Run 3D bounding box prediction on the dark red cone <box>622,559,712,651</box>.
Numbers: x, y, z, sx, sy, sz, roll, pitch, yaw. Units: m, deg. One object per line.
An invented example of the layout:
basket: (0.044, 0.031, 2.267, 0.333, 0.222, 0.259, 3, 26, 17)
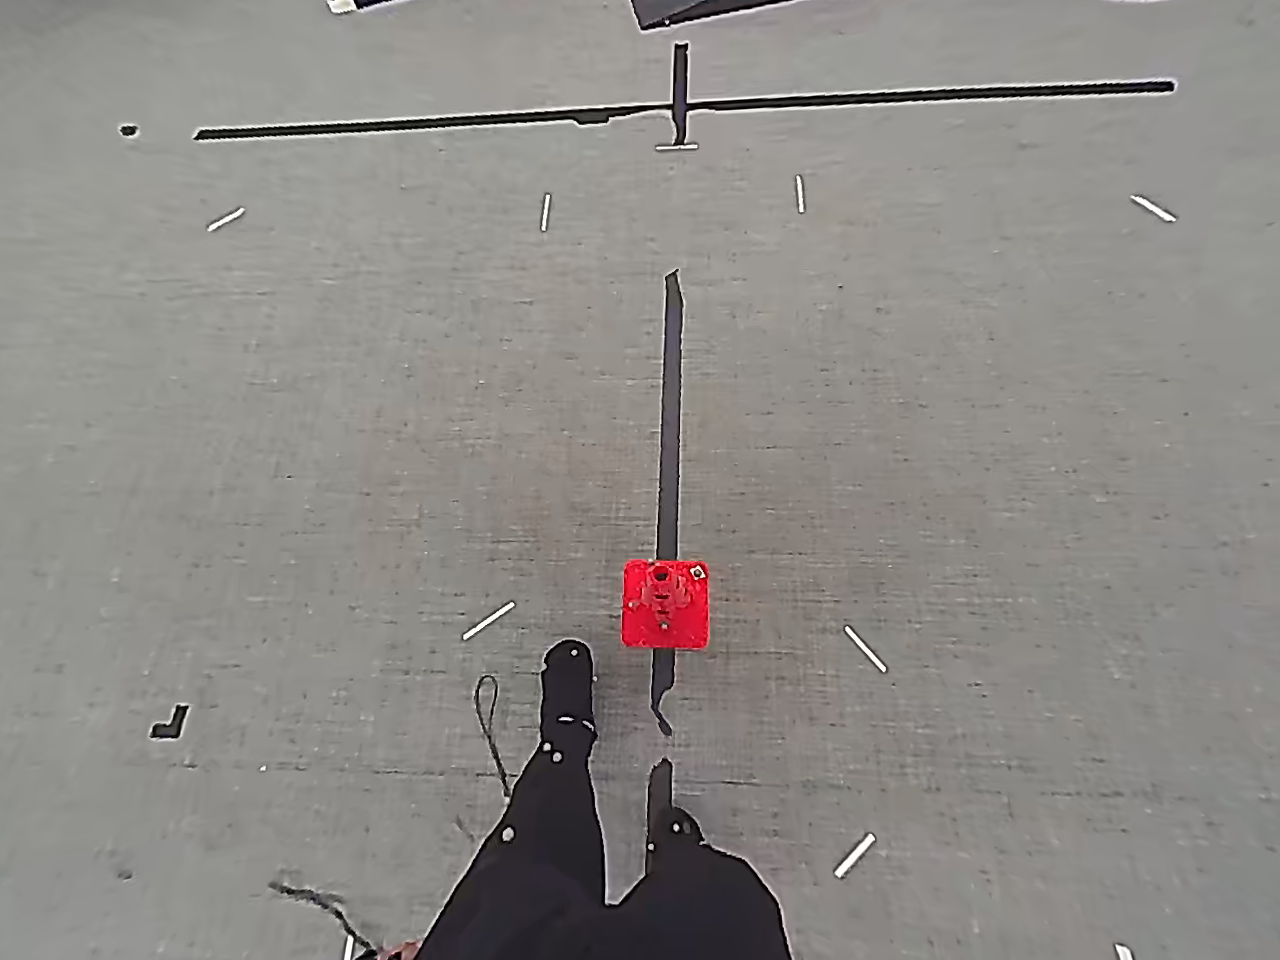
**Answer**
dark red cone: (0.047, 0.223, 1.071, 0.201, 0.394, 0.202, 0, 69, 5)
